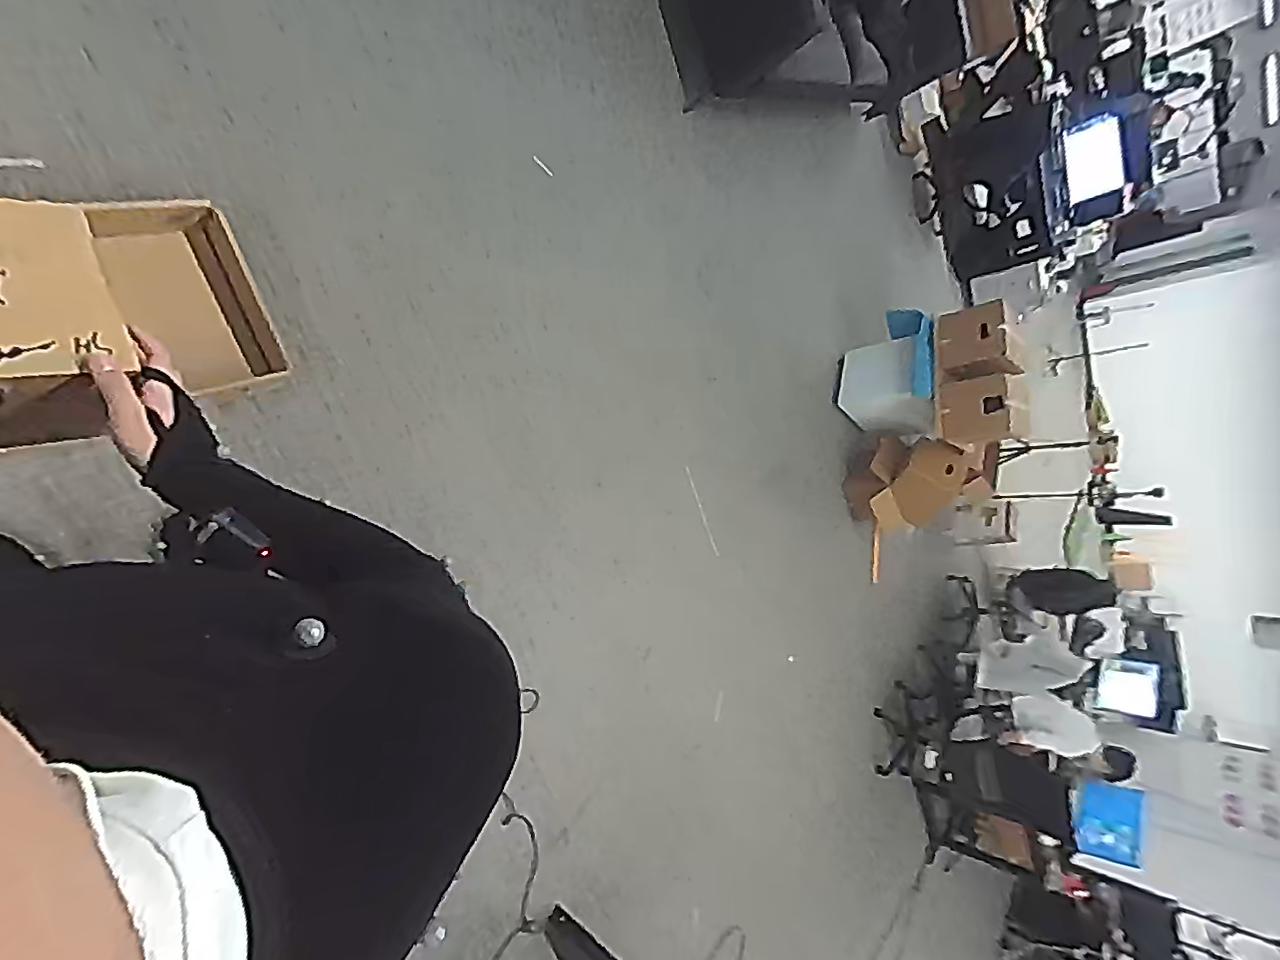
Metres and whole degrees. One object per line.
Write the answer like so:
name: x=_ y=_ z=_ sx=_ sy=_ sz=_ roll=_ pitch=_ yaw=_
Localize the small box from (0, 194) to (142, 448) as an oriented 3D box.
small box: x=-0.605 y=-0.141 z=0.503 sx=0.168 sy=0.176 sz=0.179 roll=-20 pitch=87 yaw=-48
